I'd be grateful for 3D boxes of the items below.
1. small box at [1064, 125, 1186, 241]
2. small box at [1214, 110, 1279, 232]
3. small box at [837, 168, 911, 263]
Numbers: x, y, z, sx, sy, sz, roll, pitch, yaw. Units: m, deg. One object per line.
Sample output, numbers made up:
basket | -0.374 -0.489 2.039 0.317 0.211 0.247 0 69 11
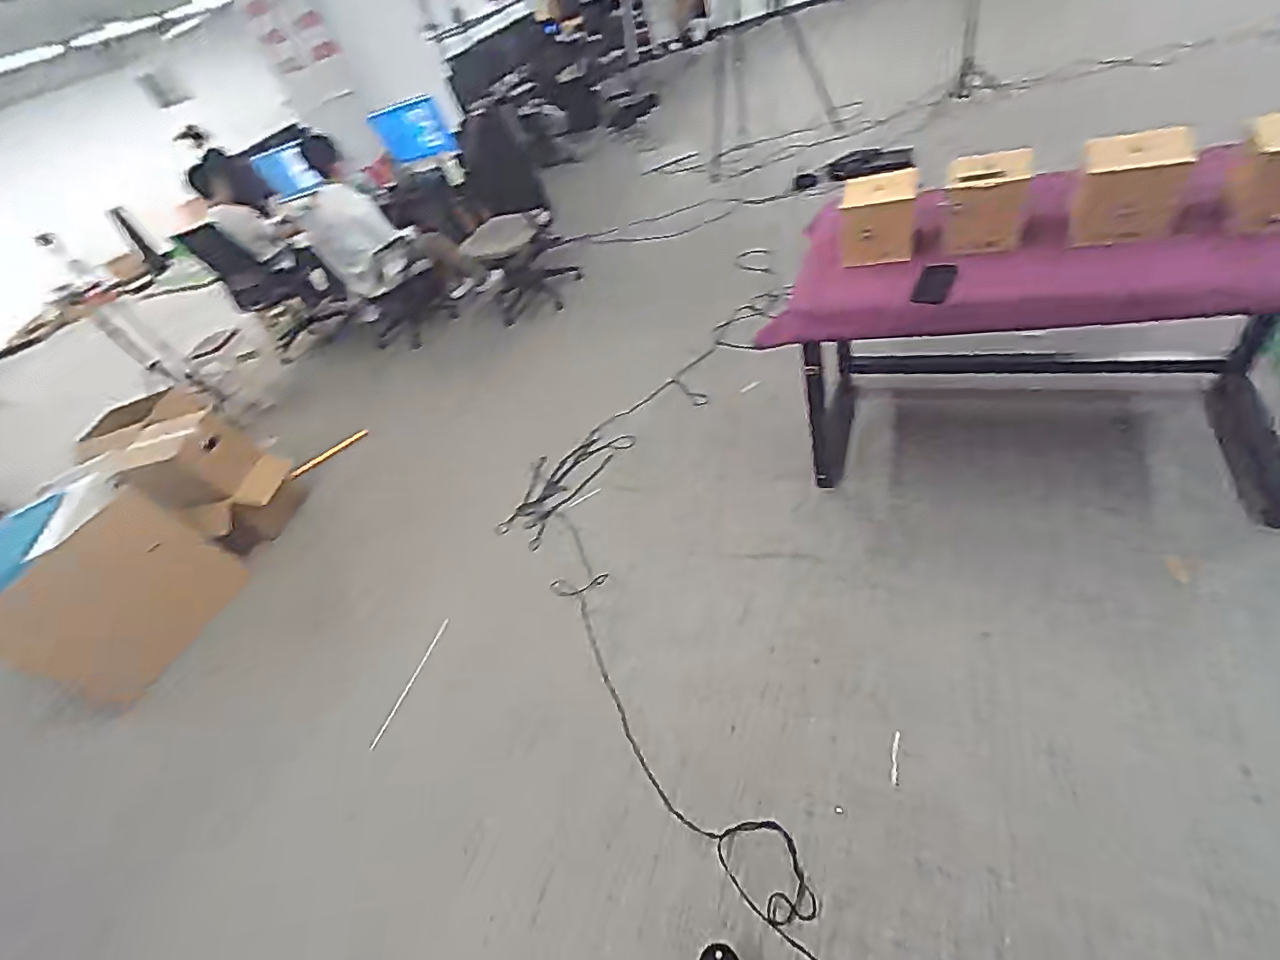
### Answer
small box | 1.065 -0.649 1.201 0.168 0.176 0.179 8 52 29
small box | 1.290 -0.619 1.074 0.168 0.176 0.179 9 53 32
small box | 0.626 -0.693 1.438 0.168 0.176 0.179 3 49 26
